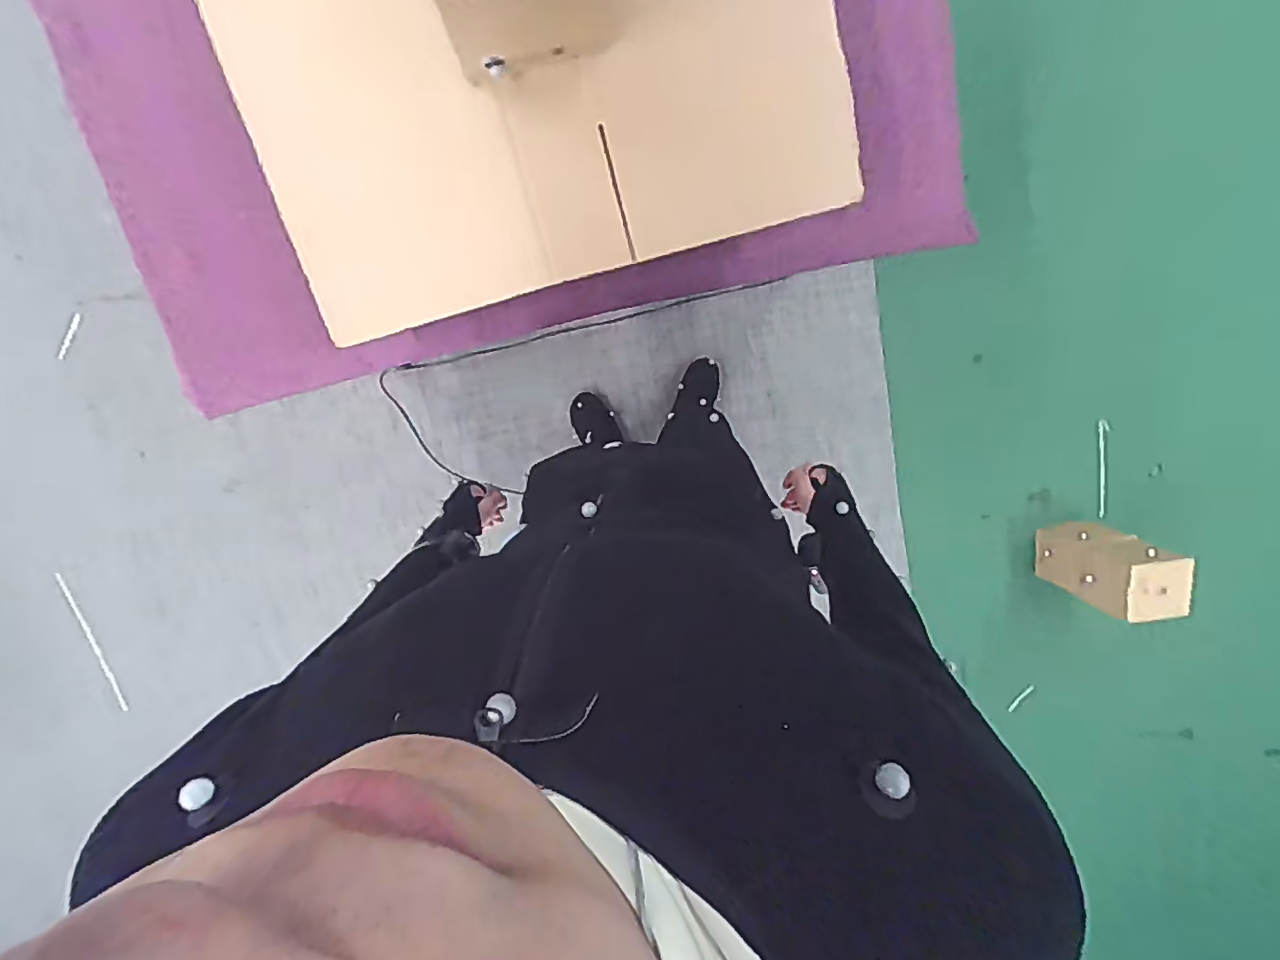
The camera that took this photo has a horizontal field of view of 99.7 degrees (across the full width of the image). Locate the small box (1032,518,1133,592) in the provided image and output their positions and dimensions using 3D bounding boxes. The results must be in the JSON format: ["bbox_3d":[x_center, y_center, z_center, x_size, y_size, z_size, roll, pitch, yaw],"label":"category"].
[{"bbox_3d":[1.368,0.228,1.679,0.179,0.176,0.168,-9,103,-1],"label":"small box"}]

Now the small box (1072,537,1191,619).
[{"bbox_3d":[1.374,0.268,1.519,0.179,0.176,0.168,-7,103,-1],"label":"small box"}]

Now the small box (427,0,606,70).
[{"bbox_3d":[-0.129,-0.520,0.497,0.168,0.176,0.179,-17,102,-2],"label":"small box"}]
